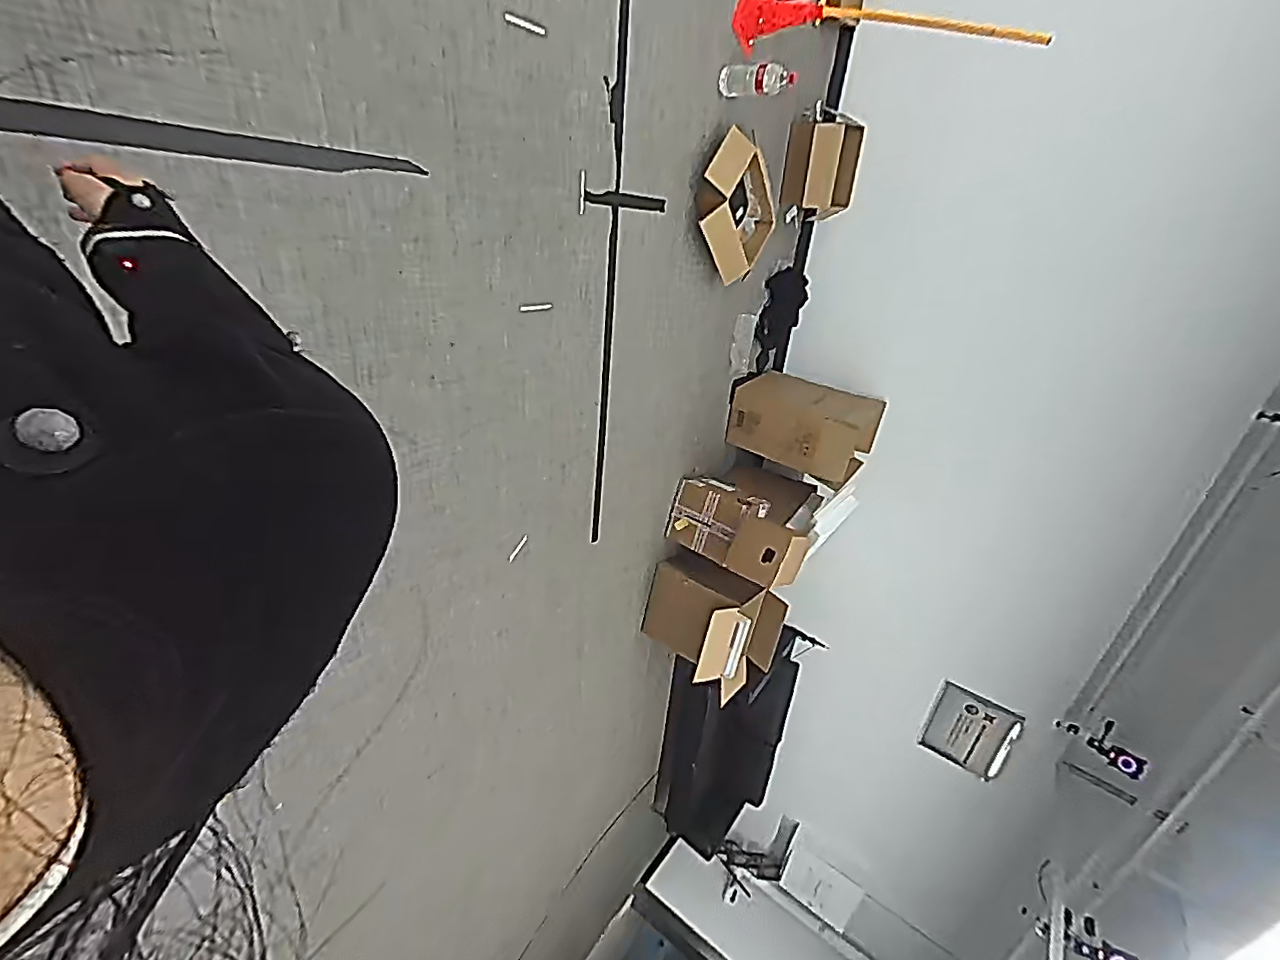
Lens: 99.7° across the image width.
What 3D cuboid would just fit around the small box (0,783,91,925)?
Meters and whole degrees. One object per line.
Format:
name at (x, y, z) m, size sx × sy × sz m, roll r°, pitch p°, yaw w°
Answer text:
small box at (-1.363, 0.802, 1.171) m, size 0.168 × 0.176 × 0.179 m, roll -39°, pitch 139°, yaw -42°
